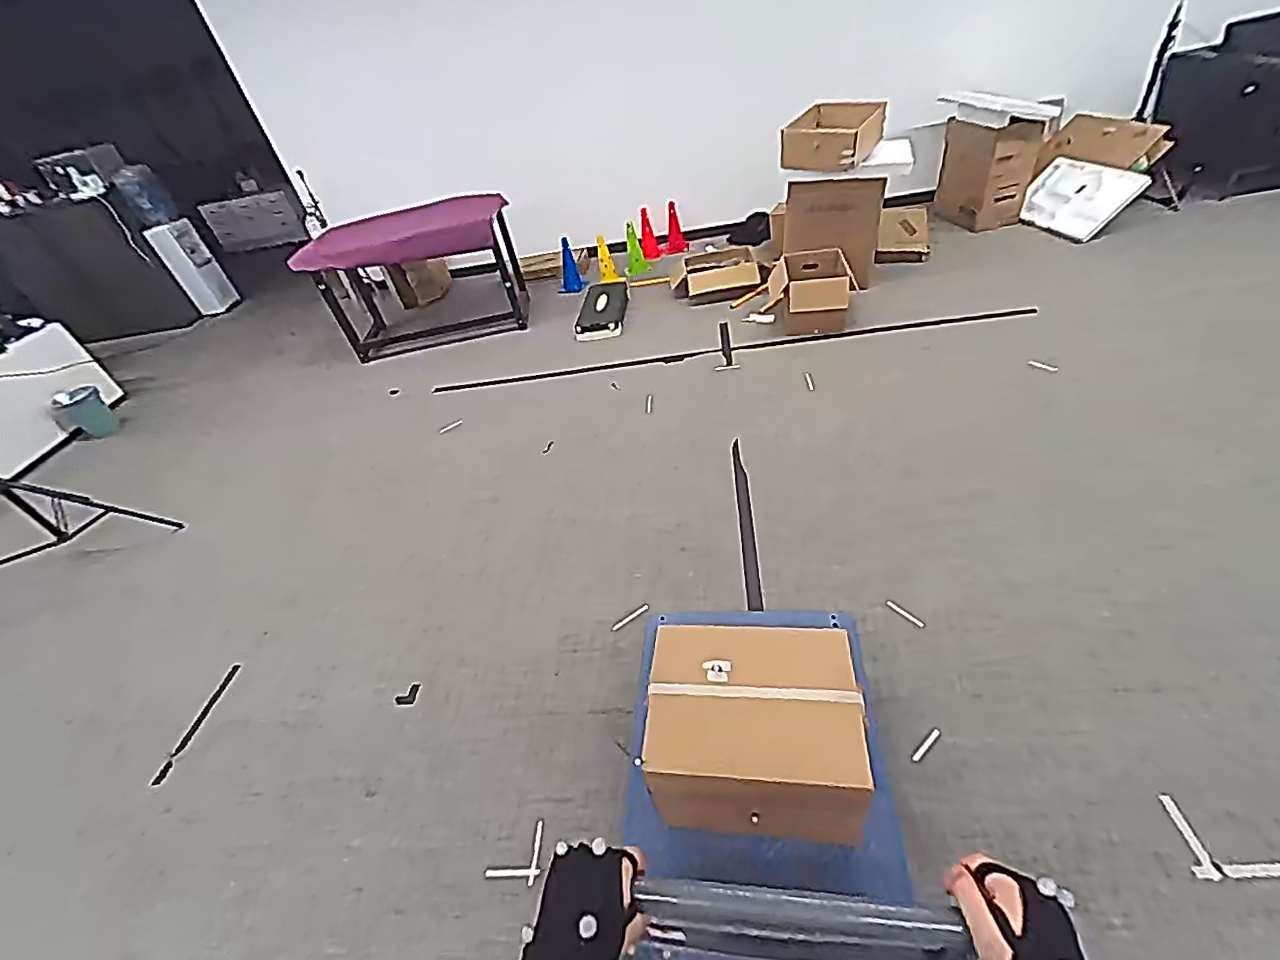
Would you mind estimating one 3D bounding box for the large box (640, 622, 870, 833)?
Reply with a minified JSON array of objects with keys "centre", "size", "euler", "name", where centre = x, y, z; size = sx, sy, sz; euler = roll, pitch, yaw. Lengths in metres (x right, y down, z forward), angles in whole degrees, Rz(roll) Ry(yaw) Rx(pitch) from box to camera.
[{"centre":[0.238,0.522,1.151],"size":[0.408,0.320,0.320],"euler":[-3,40,12],"name":"large box"}]
